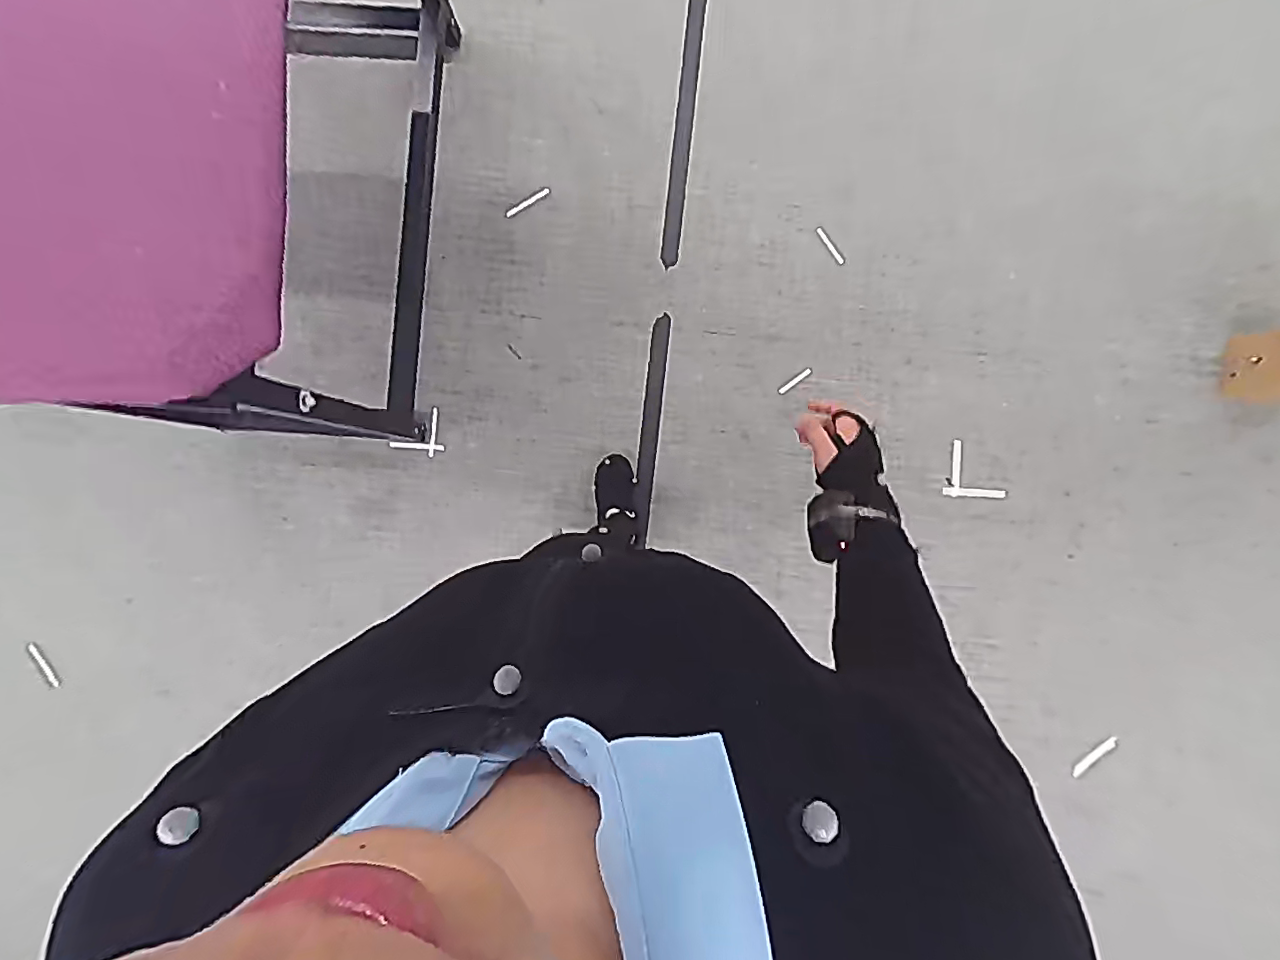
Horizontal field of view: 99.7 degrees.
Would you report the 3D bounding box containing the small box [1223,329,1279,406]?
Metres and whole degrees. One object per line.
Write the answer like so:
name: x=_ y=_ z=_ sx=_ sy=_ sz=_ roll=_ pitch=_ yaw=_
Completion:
small box: x=1.713 y=-0.295 z=1.426 sx=0.179 sy=0.176 sz=0.168 roll=8 pitch=89 yaw=0
